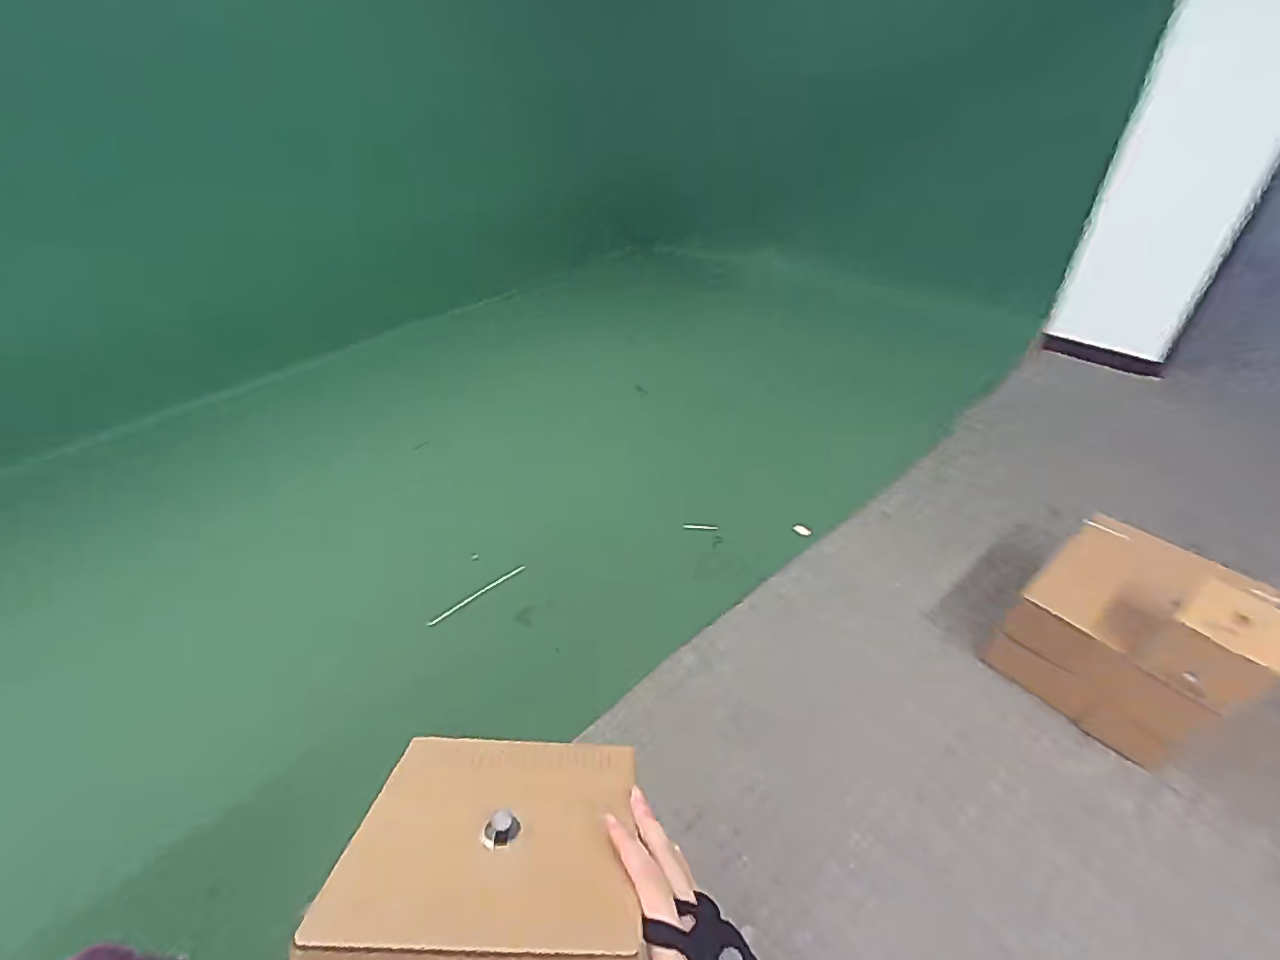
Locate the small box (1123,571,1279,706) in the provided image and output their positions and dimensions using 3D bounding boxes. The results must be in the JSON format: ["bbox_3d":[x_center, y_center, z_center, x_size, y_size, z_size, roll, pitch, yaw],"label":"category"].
[{"bbox_3d":[1.180,0.333,1.143,0.179,0.176,0.168,-29,46,-24],"label":"small box"}]
